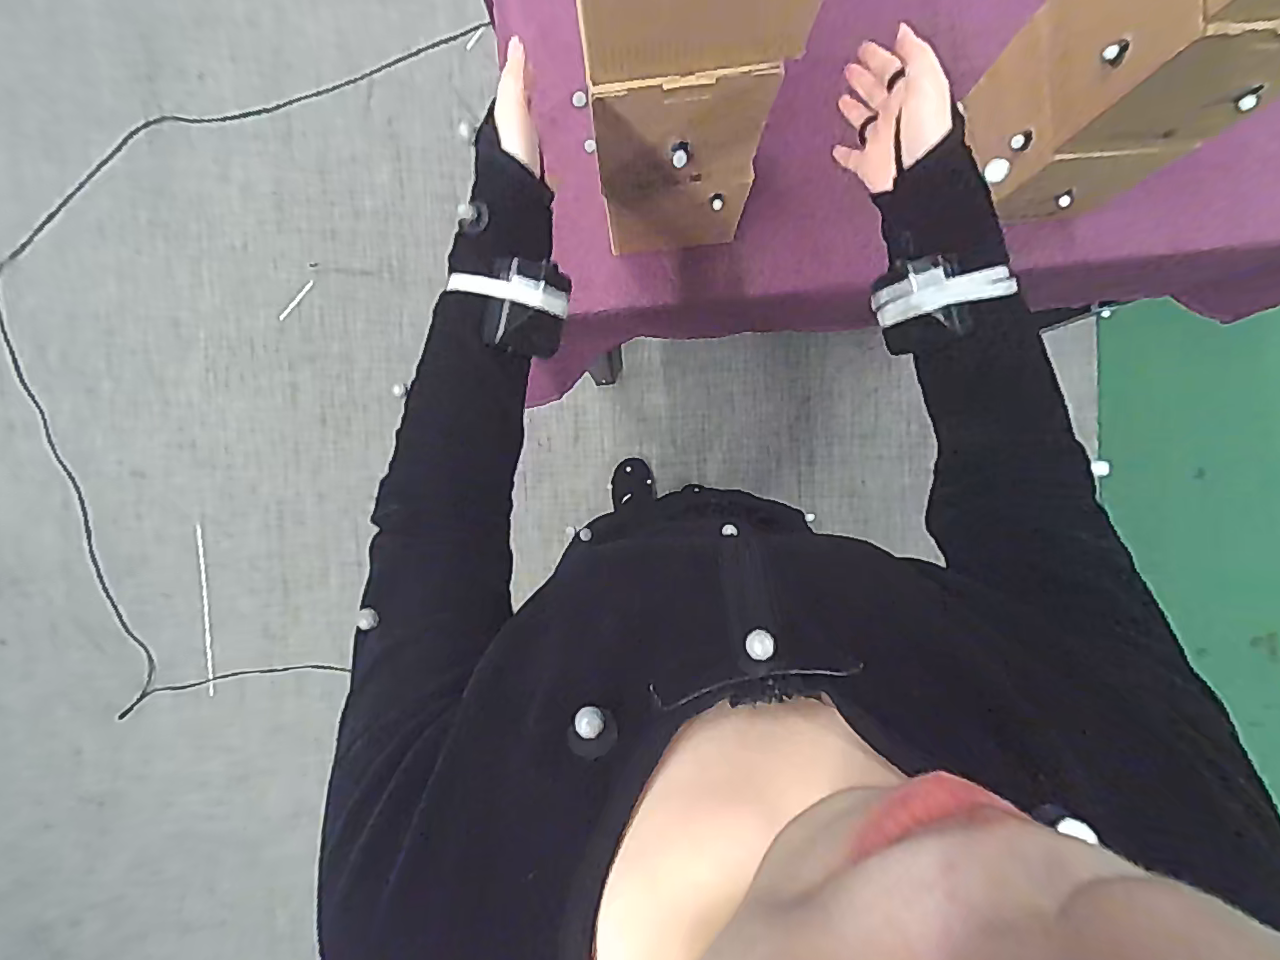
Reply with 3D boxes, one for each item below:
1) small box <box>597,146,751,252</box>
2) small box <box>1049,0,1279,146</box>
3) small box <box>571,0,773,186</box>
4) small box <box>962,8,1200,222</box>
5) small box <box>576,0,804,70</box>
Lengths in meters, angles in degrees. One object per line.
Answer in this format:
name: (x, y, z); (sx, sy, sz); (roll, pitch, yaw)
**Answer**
small box: (0.034, -0.412, 0.695); (0.179, 0.176, 0.168); (-7, 89, 1)
small box: (0.532, -0.449, 0.518); (0.168, 0.176, 0.179); (-1, 89, 1)
small box: (0.024, -0.414, 0.531); (0.168, 0.176, 0.179); (-6, 90, 0)
small box: (0.536, -0.445, 0.681); (0.168, 0.176, 0.179); (-4, 90, 1)
small box: (0.033, -0.420, 0.366); (0.179, 0.176, 0.168); (-7, 89, 0)
